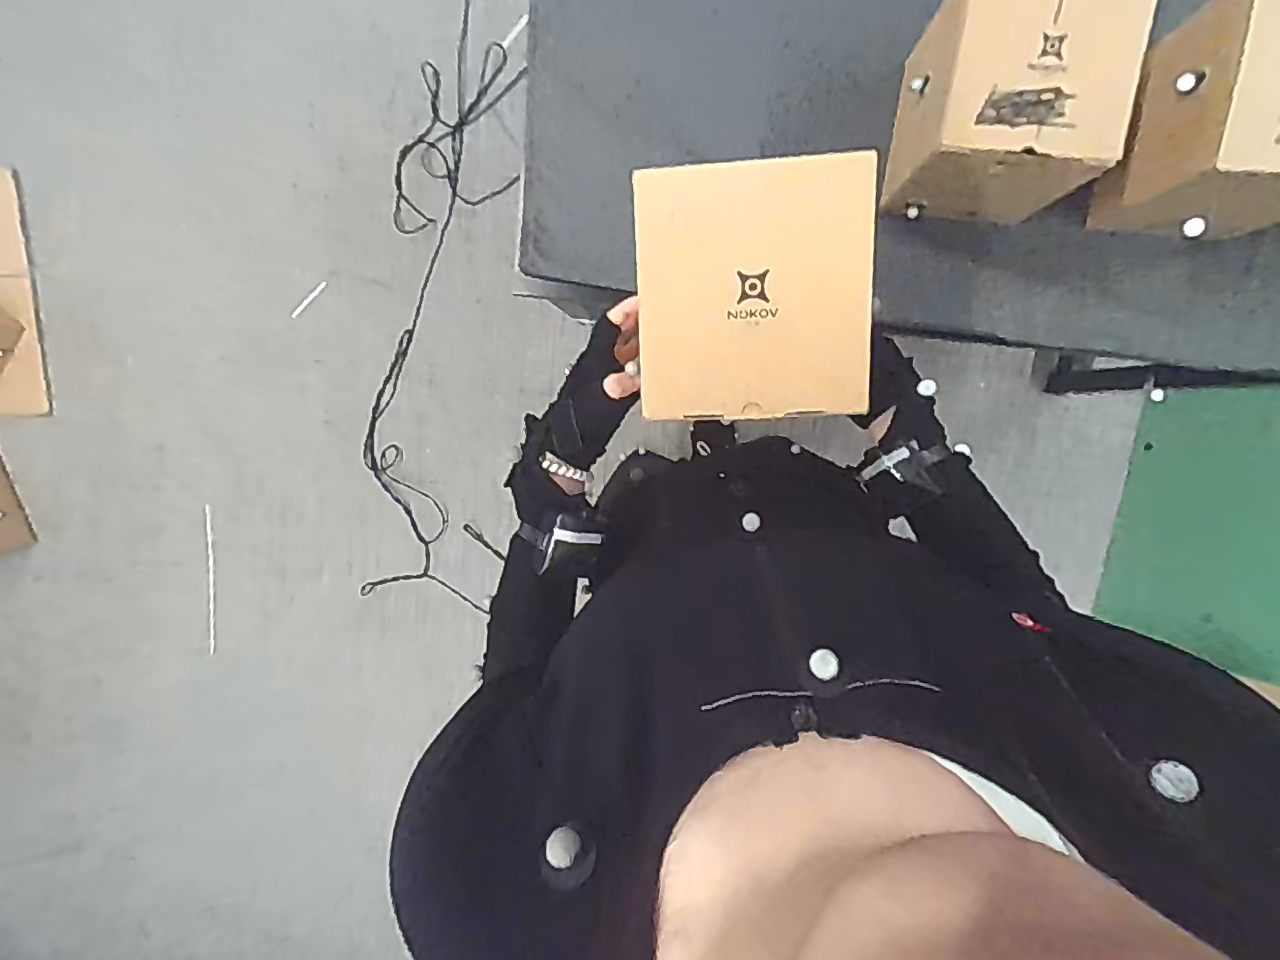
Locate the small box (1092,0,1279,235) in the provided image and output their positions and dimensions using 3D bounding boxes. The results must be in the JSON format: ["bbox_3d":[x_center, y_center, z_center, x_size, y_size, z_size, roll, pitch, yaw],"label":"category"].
[{"bbox_3d":[0.622,-0.376,0.559,0.168,0.176,0.179,6,98,5],"label":"small box"}]

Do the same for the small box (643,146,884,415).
[{"bbox_3d":[0.090,-0.149,0.457,0.168,0.176,0.179,-2,101,5],"label":"small box"}]

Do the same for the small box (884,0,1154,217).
[{"bbox_3d":[0.381,-0.403,0.577,0.168,0.176,0.179,8,97,4],"label":"small box"}]
